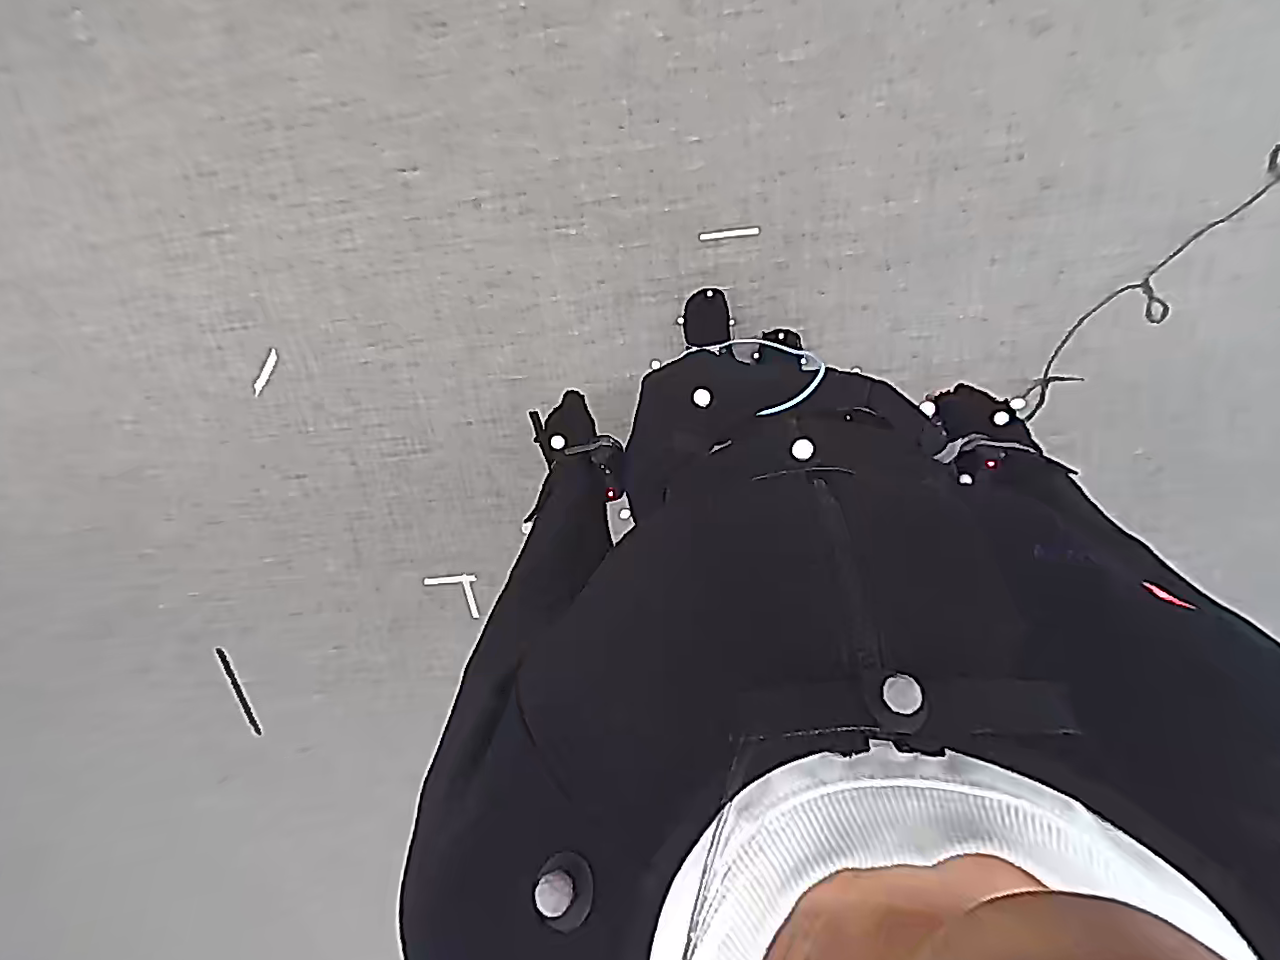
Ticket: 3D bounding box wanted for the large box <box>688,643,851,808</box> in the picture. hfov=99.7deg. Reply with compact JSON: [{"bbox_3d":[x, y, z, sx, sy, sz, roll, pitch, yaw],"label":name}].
[{"bbox_3d":[0.368,0.707,1.577,0.408,0.320,0.320,-7,108,11],"label":"large box"}]
